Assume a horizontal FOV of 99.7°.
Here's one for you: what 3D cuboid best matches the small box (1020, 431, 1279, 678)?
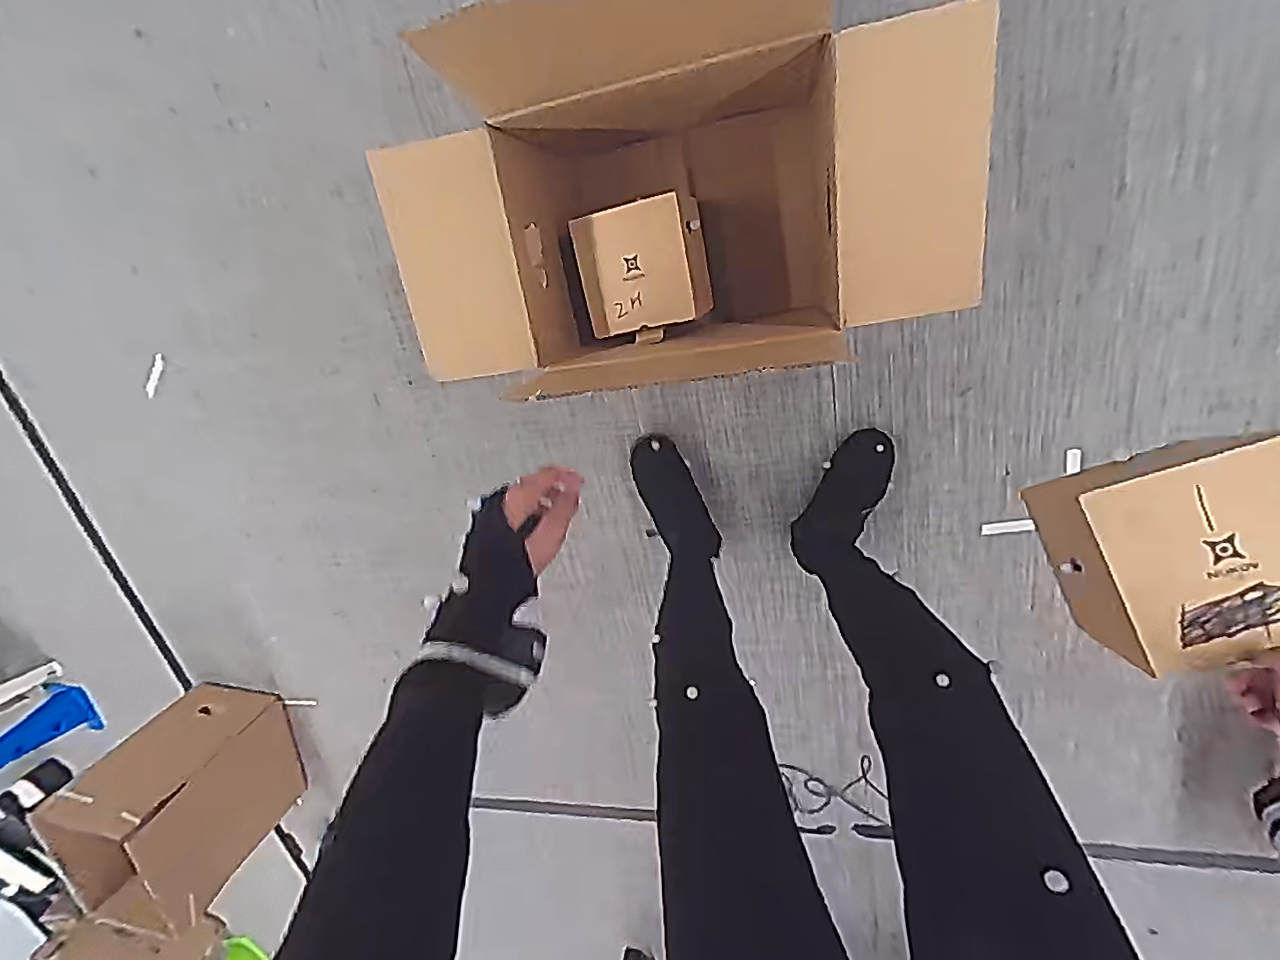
[{"bbox_3d":[0.518,0.064,0.532,0.168,0.176,0.179,-23,83,20],"label":"small box"}]
